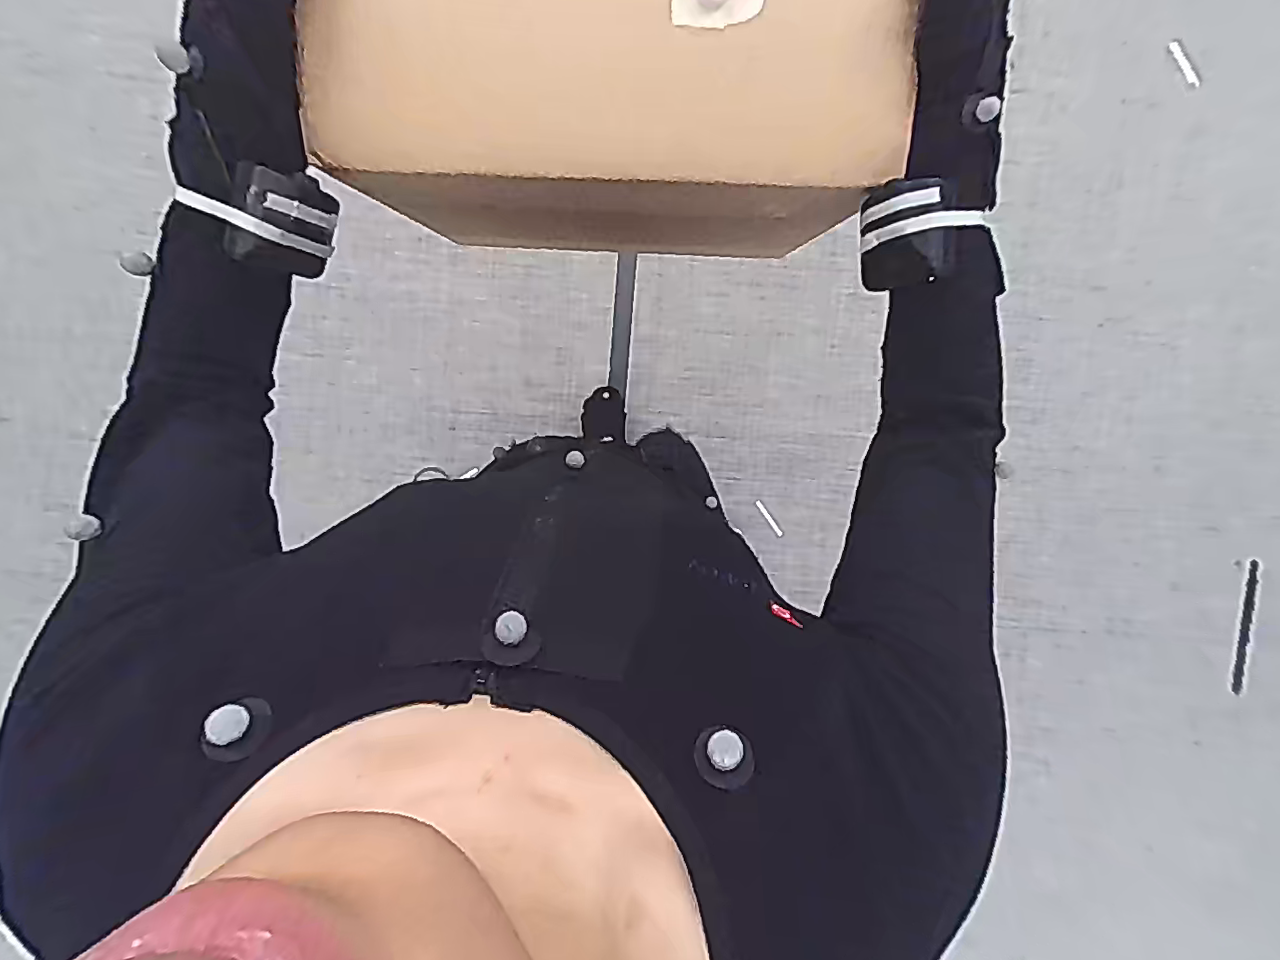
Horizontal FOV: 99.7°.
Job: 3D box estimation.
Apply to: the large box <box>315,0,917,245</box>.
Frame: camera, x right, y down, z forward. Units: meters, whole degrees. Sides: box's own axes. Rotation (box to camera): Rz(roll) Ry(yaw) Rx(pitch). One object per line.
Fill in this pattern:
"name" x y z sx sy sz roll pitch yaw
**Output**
"large box" -0.016 -0.406 0.487 0.408 0.320 0.320 1 104 -1
